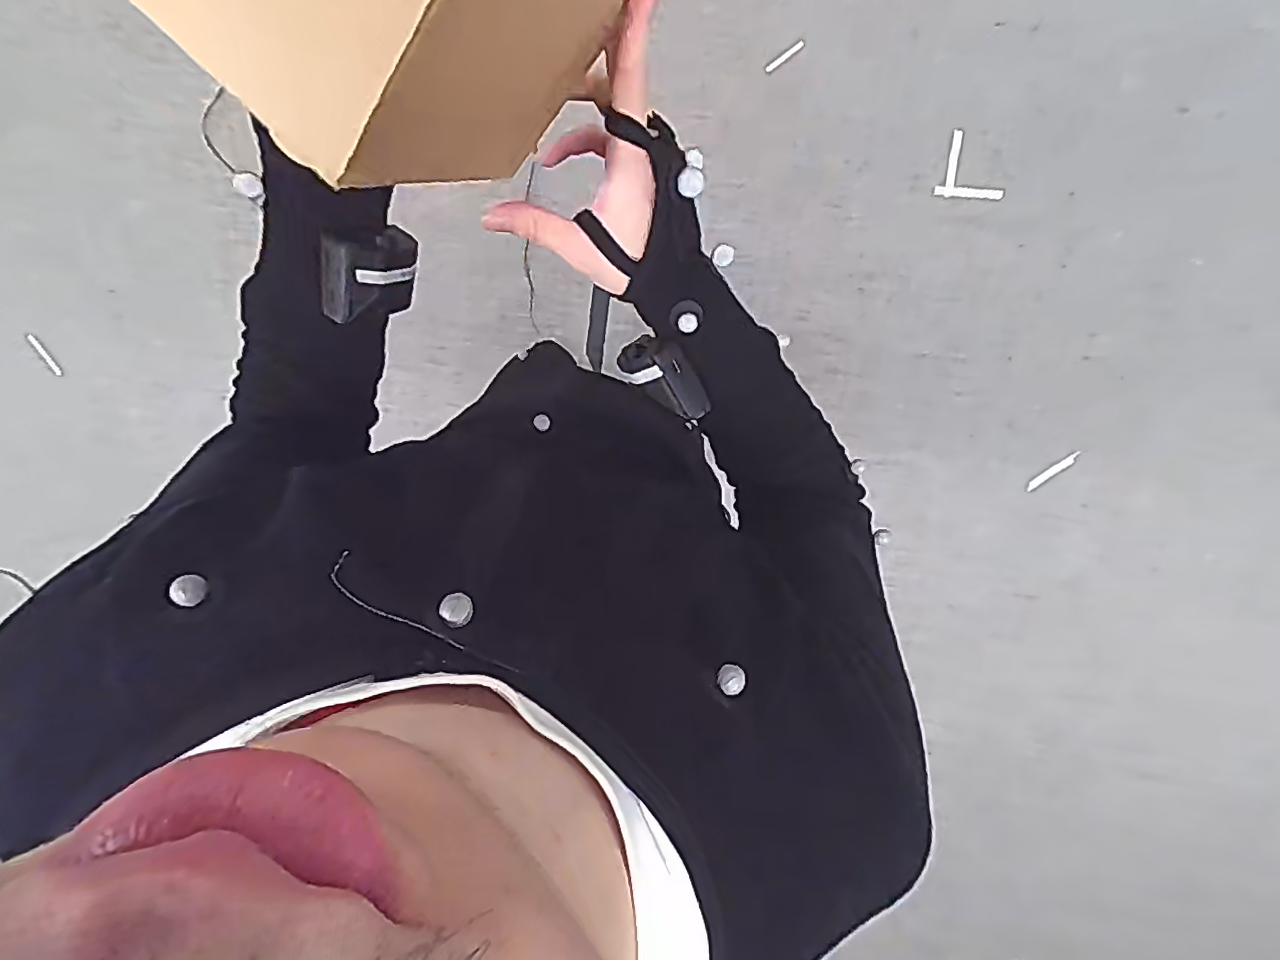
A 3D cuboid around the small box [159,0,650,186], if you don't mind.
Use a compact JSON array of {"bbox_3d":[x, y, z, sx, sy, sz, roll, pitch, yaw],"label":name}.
[{"bbox_3d":[-0.082,-0.240,0.194,0.168,0.176,0.179,42,117,-15],"label":"small box"}]
